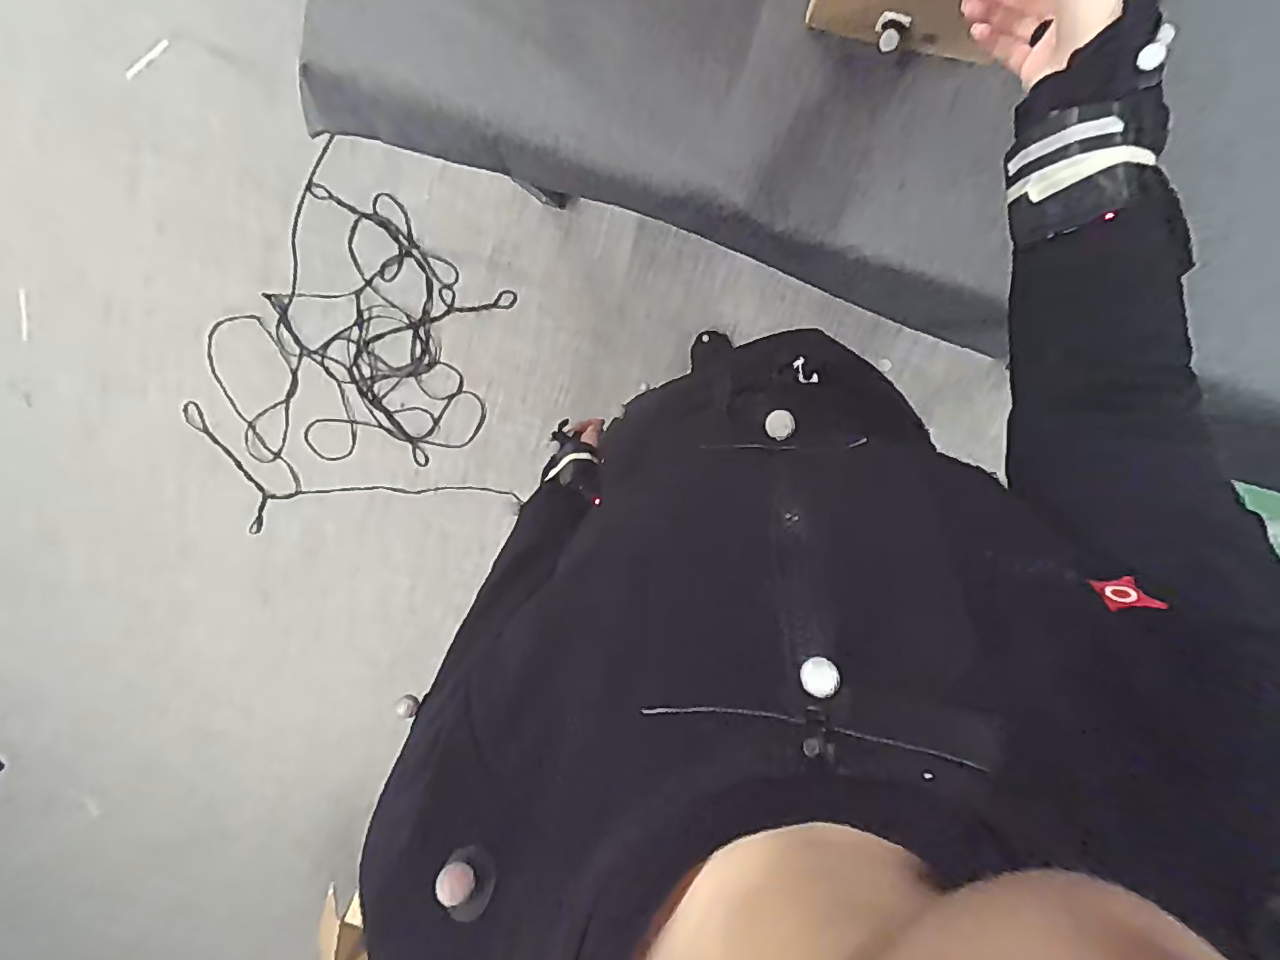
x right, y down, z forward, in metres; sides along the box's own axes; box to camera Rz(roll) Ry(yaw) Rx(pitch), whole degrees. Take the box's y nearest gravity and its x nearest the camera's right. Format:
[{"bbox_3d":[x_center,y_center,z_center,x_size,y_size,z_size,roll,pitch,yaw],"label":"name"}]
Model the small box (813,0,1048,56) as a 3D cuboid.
[{"bbox_3d":[0.230,-0.439,0.369,0.168,0.176,0.179,12,109,3],"label":"small box"}]
